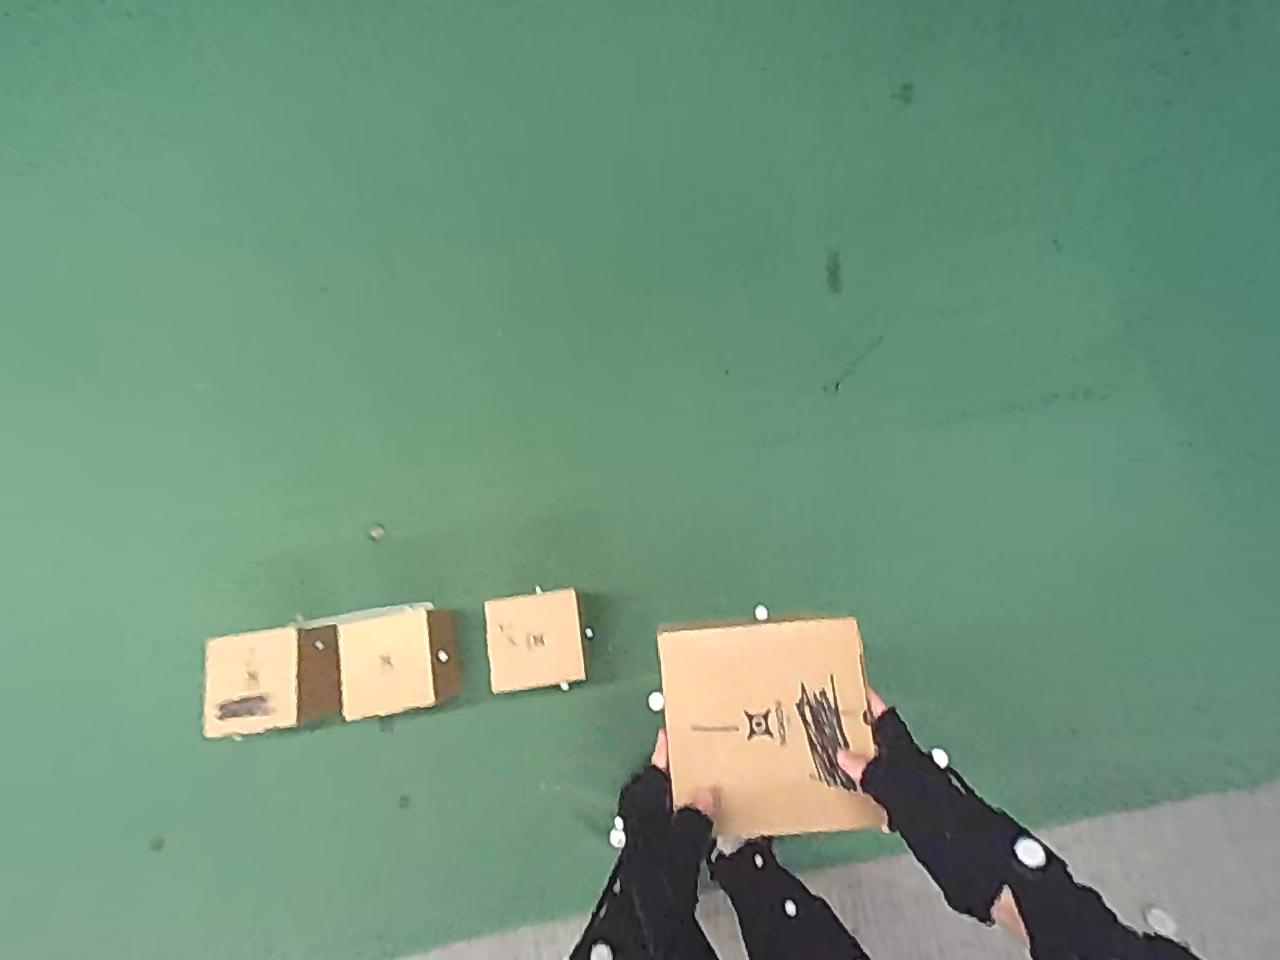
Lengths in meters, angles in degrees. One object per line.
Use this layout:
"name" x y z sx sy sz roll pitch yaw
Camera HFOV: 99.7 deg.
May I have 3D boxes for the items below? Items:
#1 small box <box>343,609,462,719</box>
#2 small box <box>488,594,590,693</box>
"small box" -0.468 0.359 1.084 0.168 0.176 0.179 -10 78 -3
"small box" -0.196 0.321 1.092 0.179 0.176 0.168 -7 77 -2
